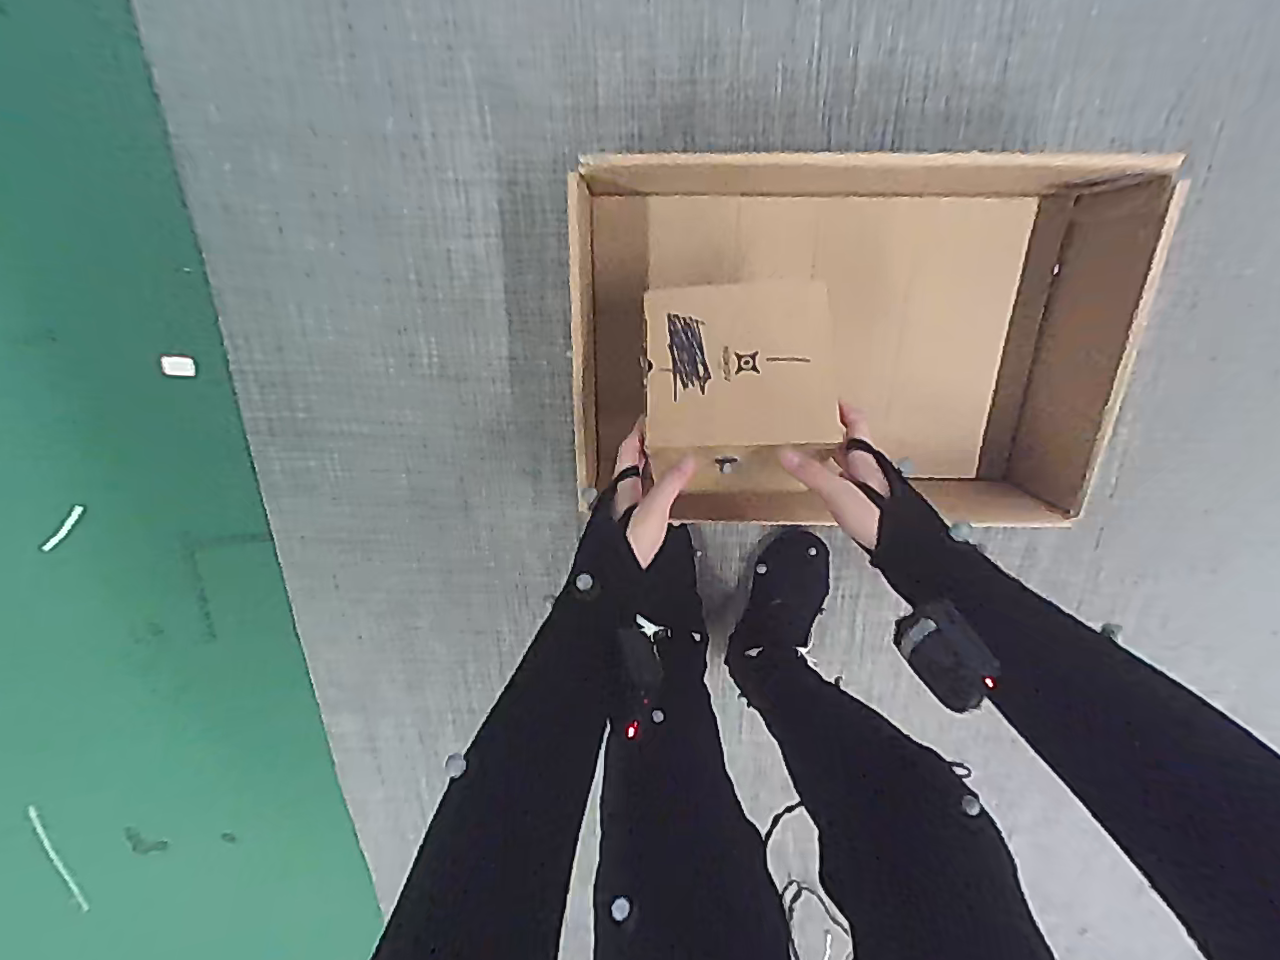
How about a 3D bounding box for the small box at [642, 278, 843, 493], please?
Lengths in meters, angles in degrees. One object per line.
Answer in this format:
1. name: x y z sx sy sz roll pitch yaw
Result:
1. small box: 0.099 -0.086 0.569 0.179 0.176 0.168 -1 72 6
